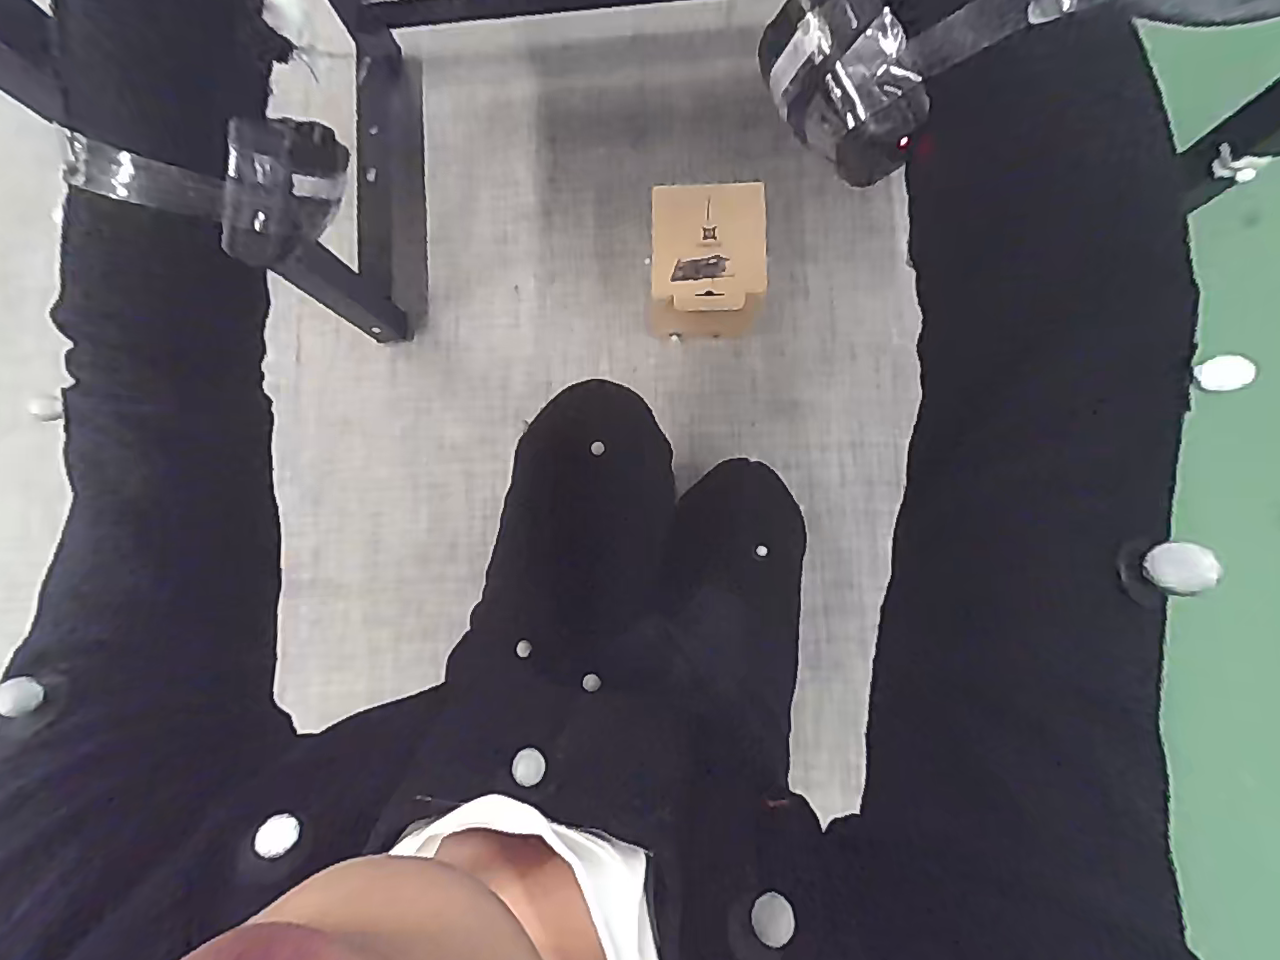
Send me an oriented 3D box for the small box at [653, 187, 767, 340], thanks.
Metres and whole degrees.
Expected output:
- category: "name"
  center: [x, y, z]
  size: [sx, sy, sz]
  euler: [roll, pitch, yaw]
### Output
- category: "small box"
  center: [0.109, -0.333, 0.865]
  size: [0.168, 0.176, 0.179]
  euler: [0, 82, 4]
